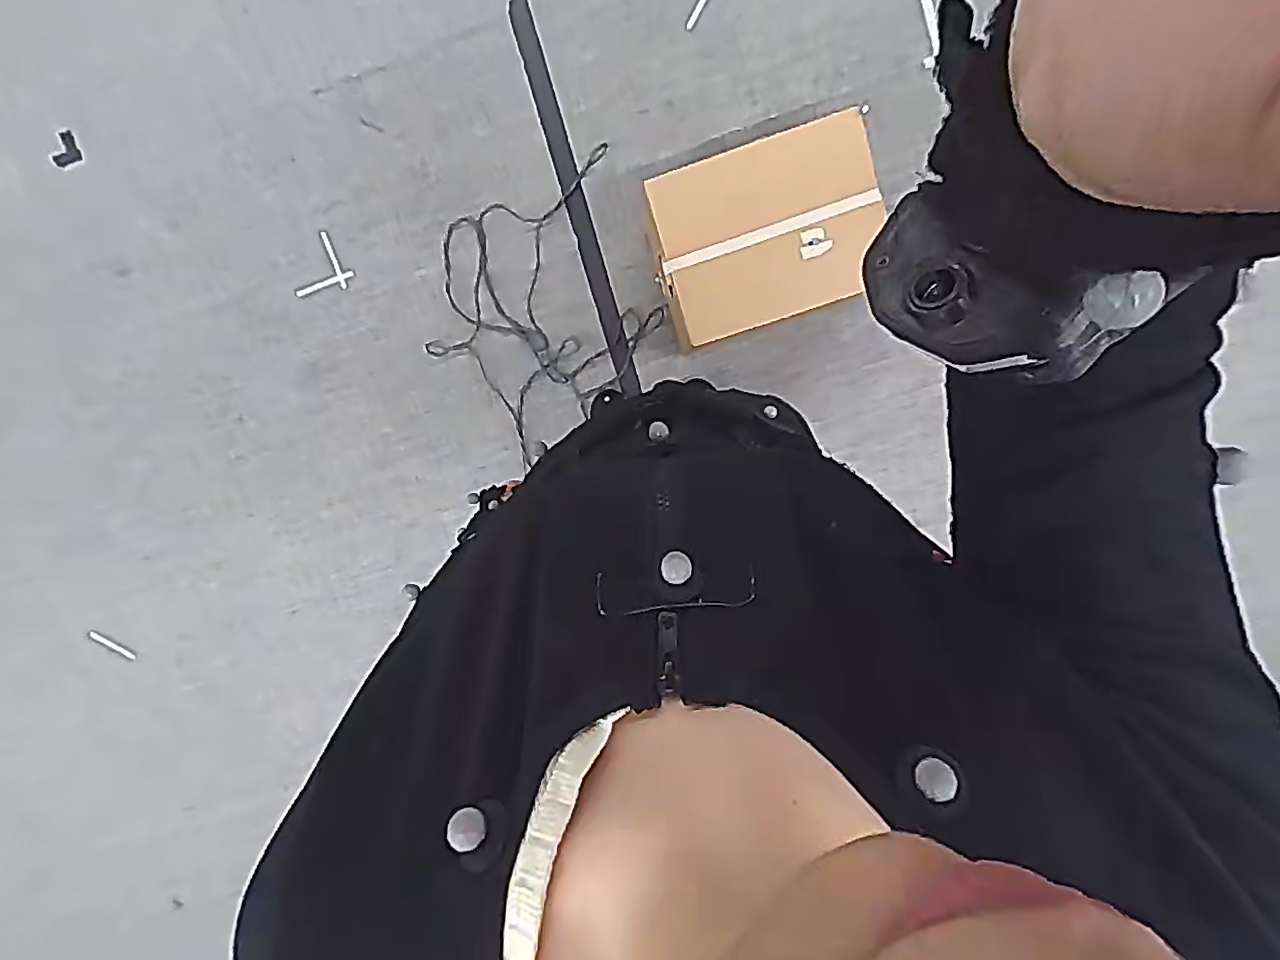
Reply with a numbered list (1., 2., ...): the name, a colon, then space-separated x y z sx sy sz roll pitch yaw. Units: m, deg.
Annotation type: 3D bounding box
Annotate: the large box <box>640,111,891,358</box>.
1. large box: 0.237 -0.478 1.146 0.408 0.320 0.320 -18 100 3
